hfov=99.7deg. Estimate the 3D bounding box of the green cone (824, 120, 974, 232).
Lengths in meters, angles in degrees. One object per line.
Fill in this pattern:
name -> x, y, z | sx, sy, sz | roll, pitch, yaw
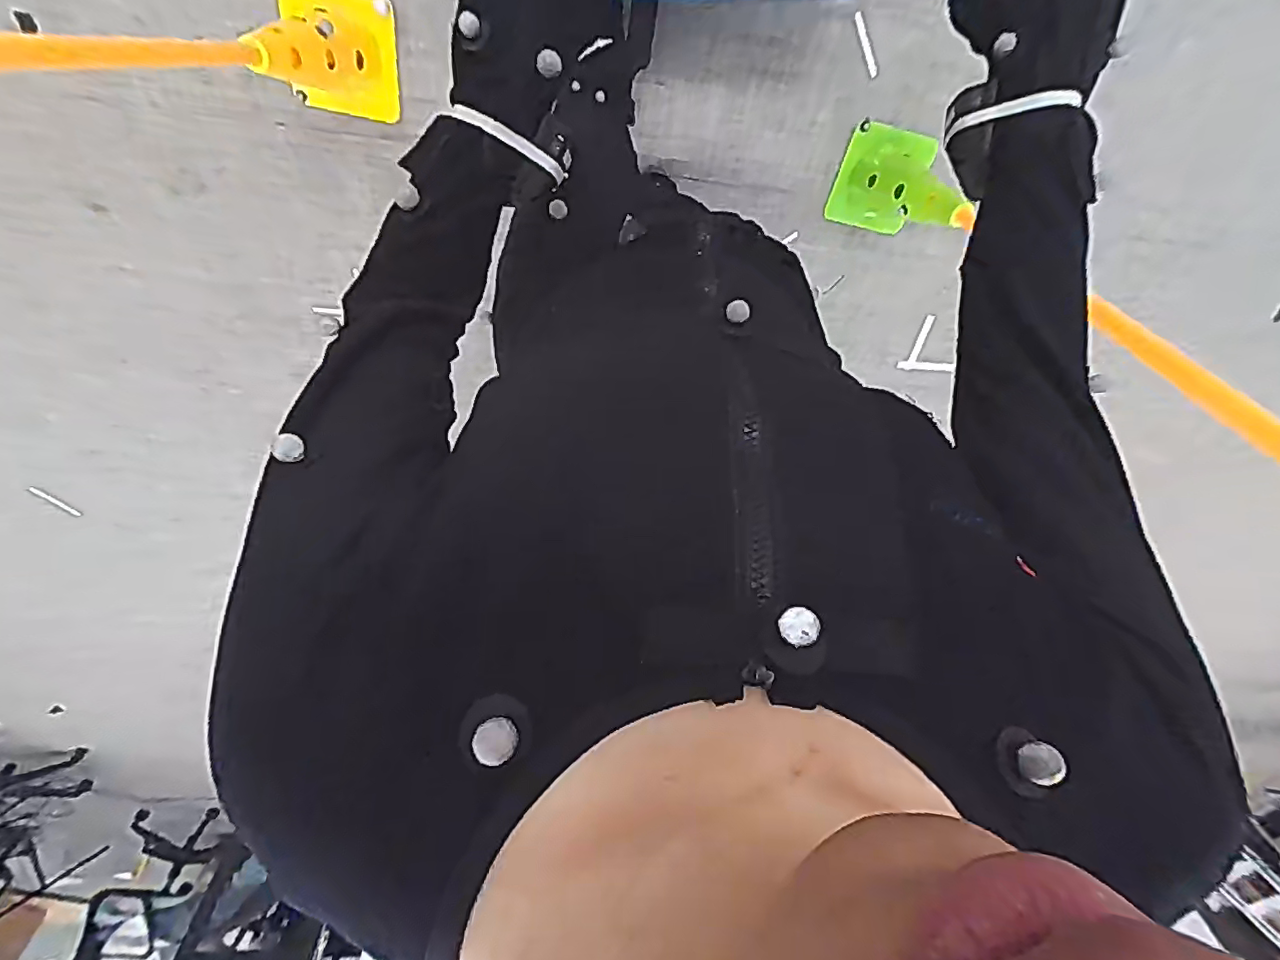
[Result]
green cone -> 0.551, -0.576, 1.093 | 0.202, 0.368, 0.200 | 6, 128, -11
